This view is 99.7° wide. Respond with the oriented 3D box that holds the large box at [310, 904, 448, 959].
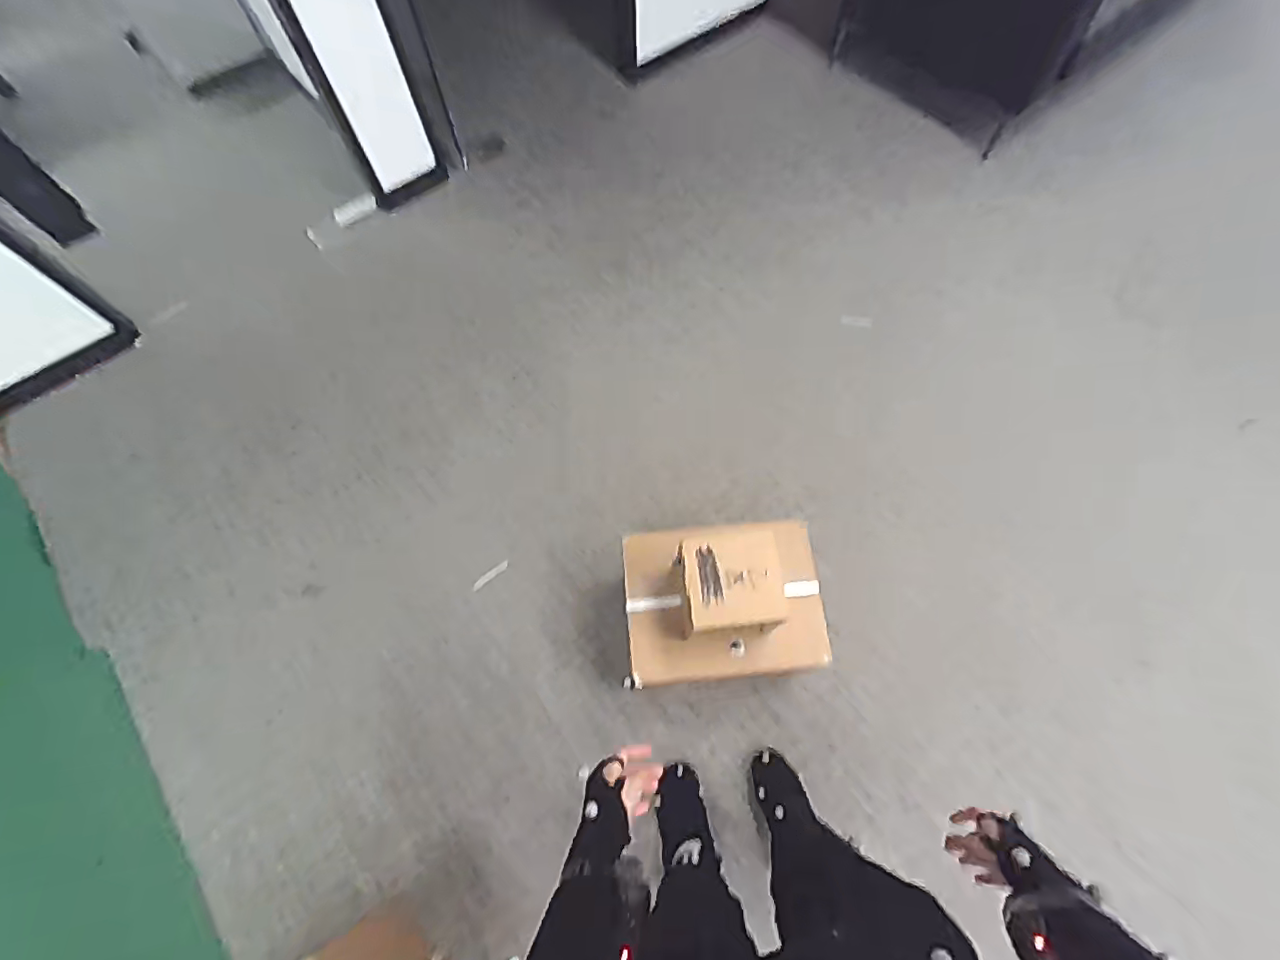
[{"bbox_3d":[-0.533,1.080,0.937,0.320,0.320,0.408,34,72,16],"label":"large box"}]
